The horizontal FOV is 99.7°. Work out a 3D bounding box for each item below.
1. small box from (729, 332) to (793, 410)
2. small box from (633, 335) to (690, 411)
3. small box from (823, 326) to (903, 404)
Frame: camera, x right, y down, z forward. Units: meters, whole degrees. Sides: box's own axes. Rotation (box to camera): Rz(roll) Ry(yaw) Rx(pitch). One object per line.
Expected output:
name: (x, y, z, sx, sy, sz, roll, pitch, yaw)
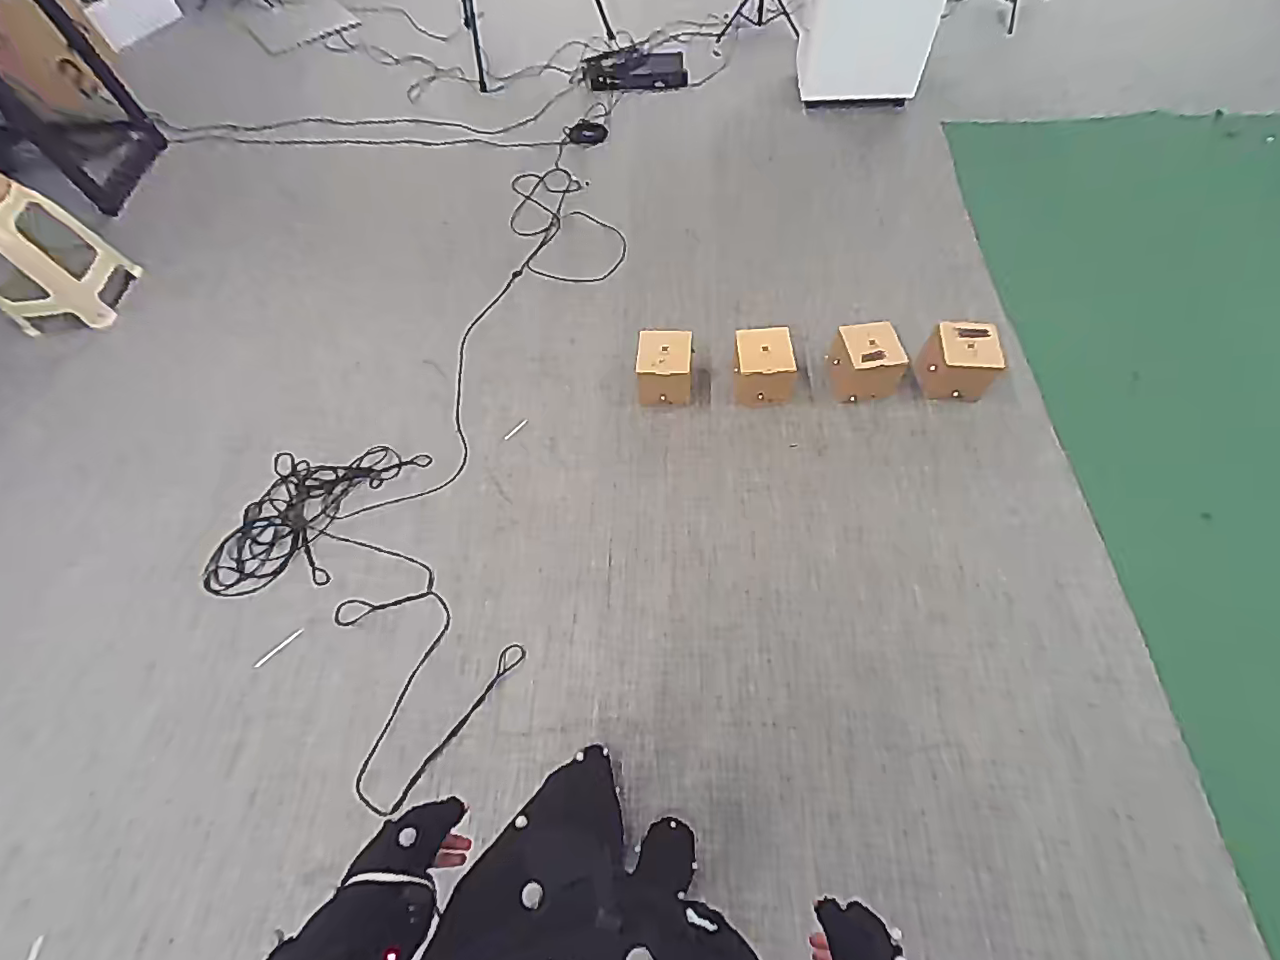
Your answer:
small box: (0.378, -0.344, 1.720, 0.168, 0.176, 0.179, -4, 61, 2)
small box: (0.073, -0.344, 1.739, 0.168, 0.176, 0.179, 2, 61, 6)
small box: (0.696, -0.355, 1.705, 0.168, 0.176, 0.179, -6, 60, -1)
